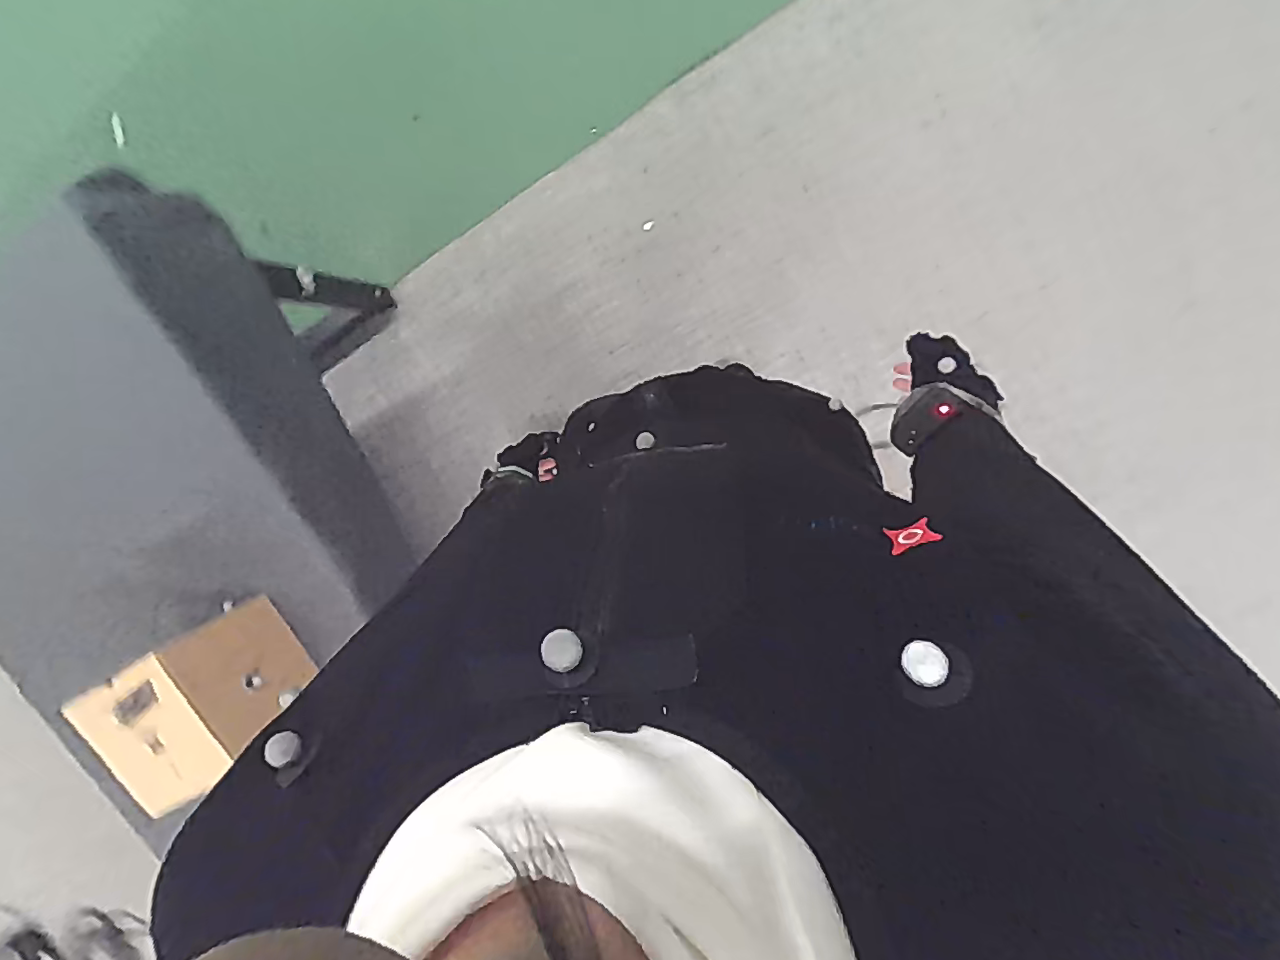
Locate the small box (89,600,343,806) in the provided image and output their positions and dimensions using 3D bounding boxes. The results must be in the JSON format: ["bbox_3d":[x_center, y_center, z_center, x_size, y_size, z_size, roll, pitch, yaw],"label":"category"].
[{"bbox_3d":[-0.561,0.286,0.739,0.168,0.176,0.179,-33,95,13],"label":"small box"}]
